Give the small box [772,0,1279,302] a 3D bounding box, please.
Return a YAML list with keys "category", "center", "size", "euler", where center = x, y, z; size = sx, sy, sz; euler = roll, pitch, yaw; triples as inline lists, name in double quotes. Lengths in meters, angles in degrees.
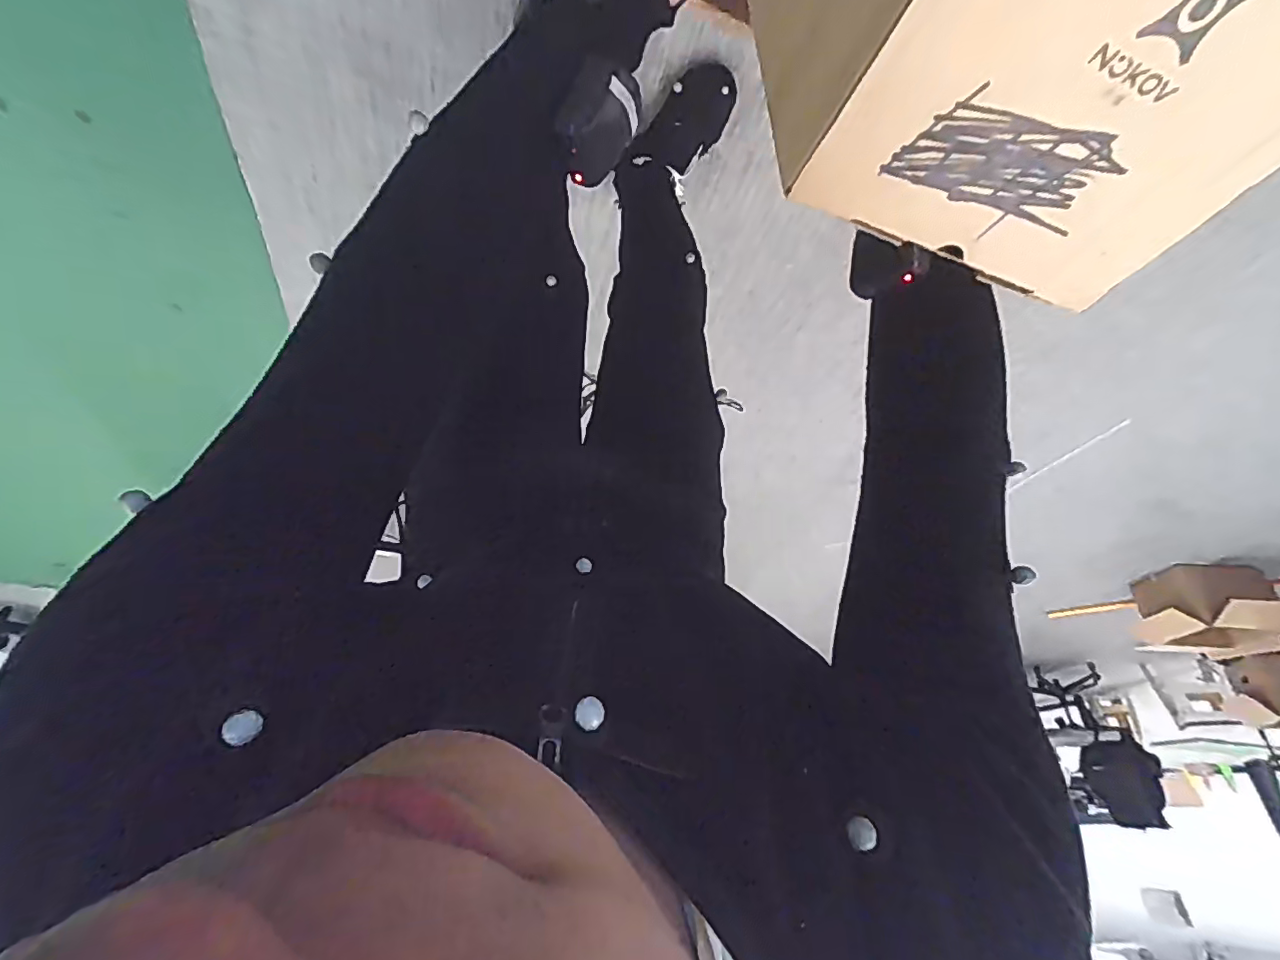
- category: "small box"
  center: [0.166, -0.211, 0.210]
  size: [0.168, 0.176, 0.179]
  euler: [12, 148, -17]
